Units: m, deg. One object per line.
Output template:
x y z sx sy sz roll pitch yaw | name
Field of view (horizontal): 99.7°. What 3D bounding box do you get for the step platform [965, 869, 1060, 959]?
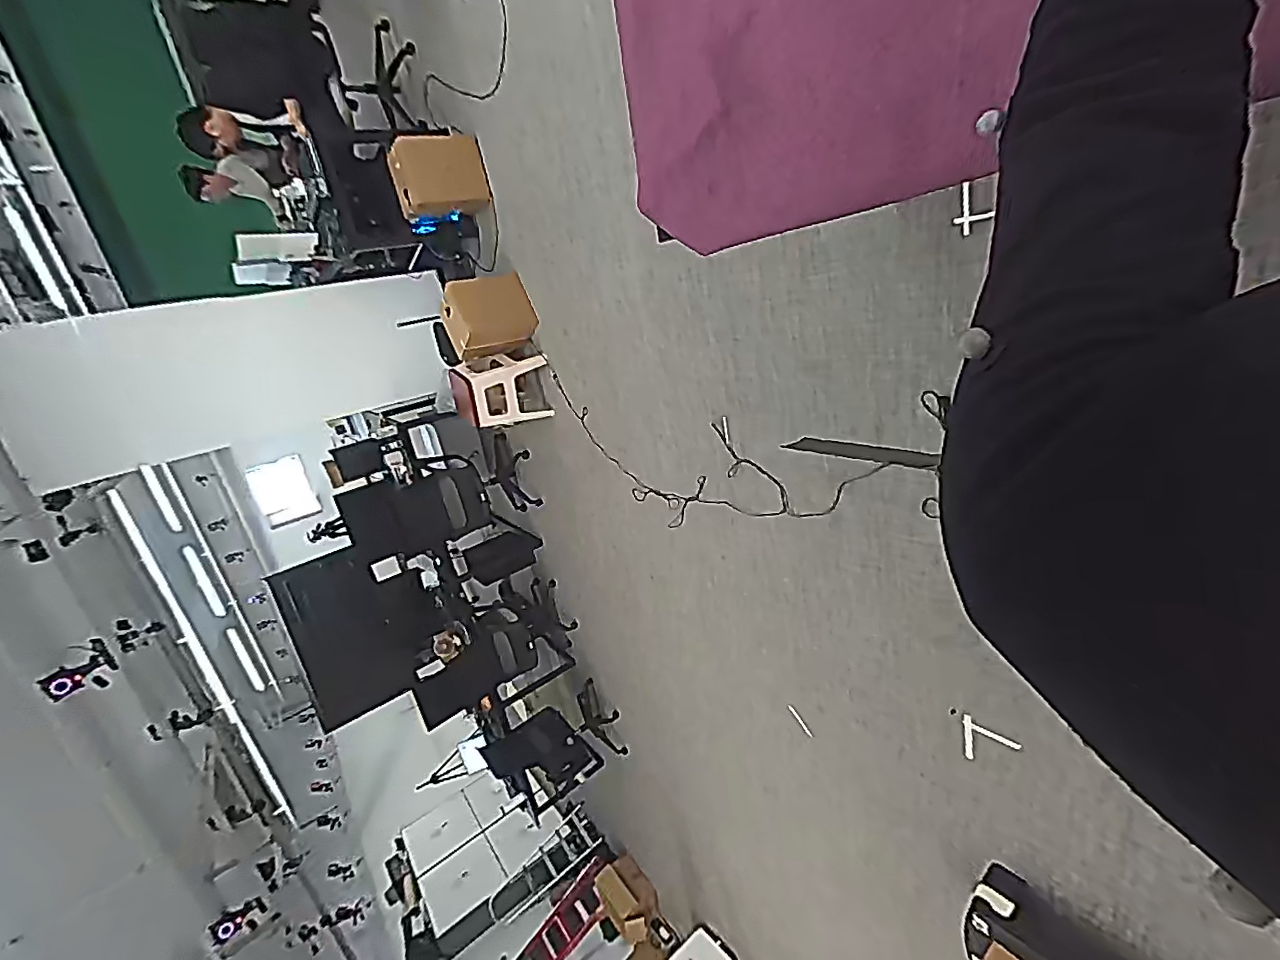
1.320 1.498 1.540 0.684 0.204 0.286 15 123 52 | step platform
